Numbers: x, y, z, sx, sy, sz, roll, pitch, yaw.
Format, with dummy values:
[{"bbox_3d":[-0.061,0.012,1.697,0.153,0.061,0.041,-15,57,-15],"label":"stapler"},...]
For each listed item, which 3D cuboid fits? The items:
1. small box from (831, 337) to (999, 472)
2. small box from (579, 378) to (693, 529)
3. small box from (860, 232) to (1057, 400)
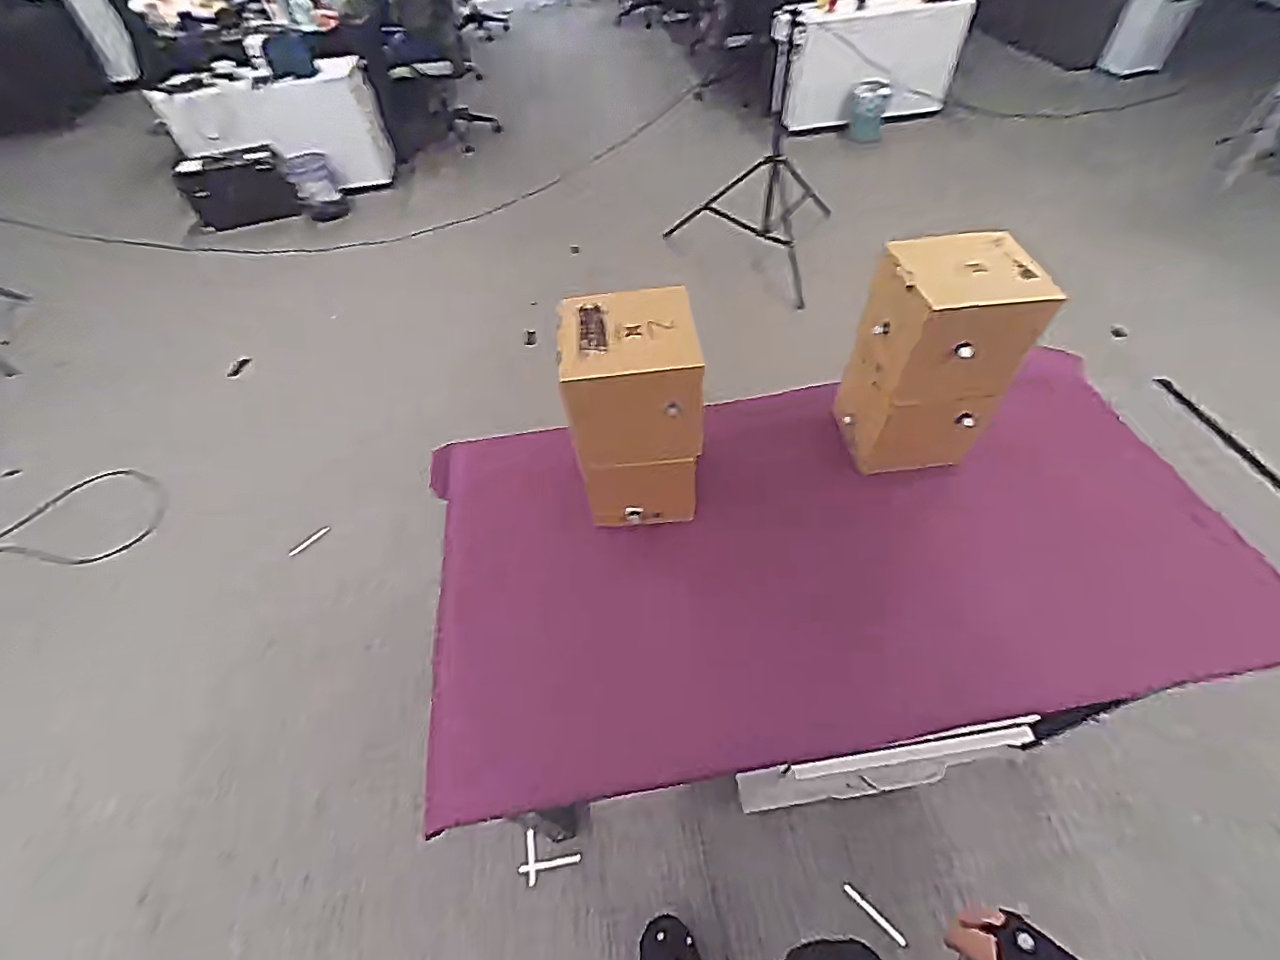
[{"bbox_3d":[0.449,-0.132,0.917,0.179,0.176,0.168,-7,52,-1],"label":"small box"},{"bbox_3d":[-0.006,-0.041,0.880,0.168,0.176,0.179,-5,54,1],"label":"small box"},{"bbox_3d":[0.438,-0.233,0.789,0.179,0.176,0.168,-6,53,0],"label":"small box"}]
